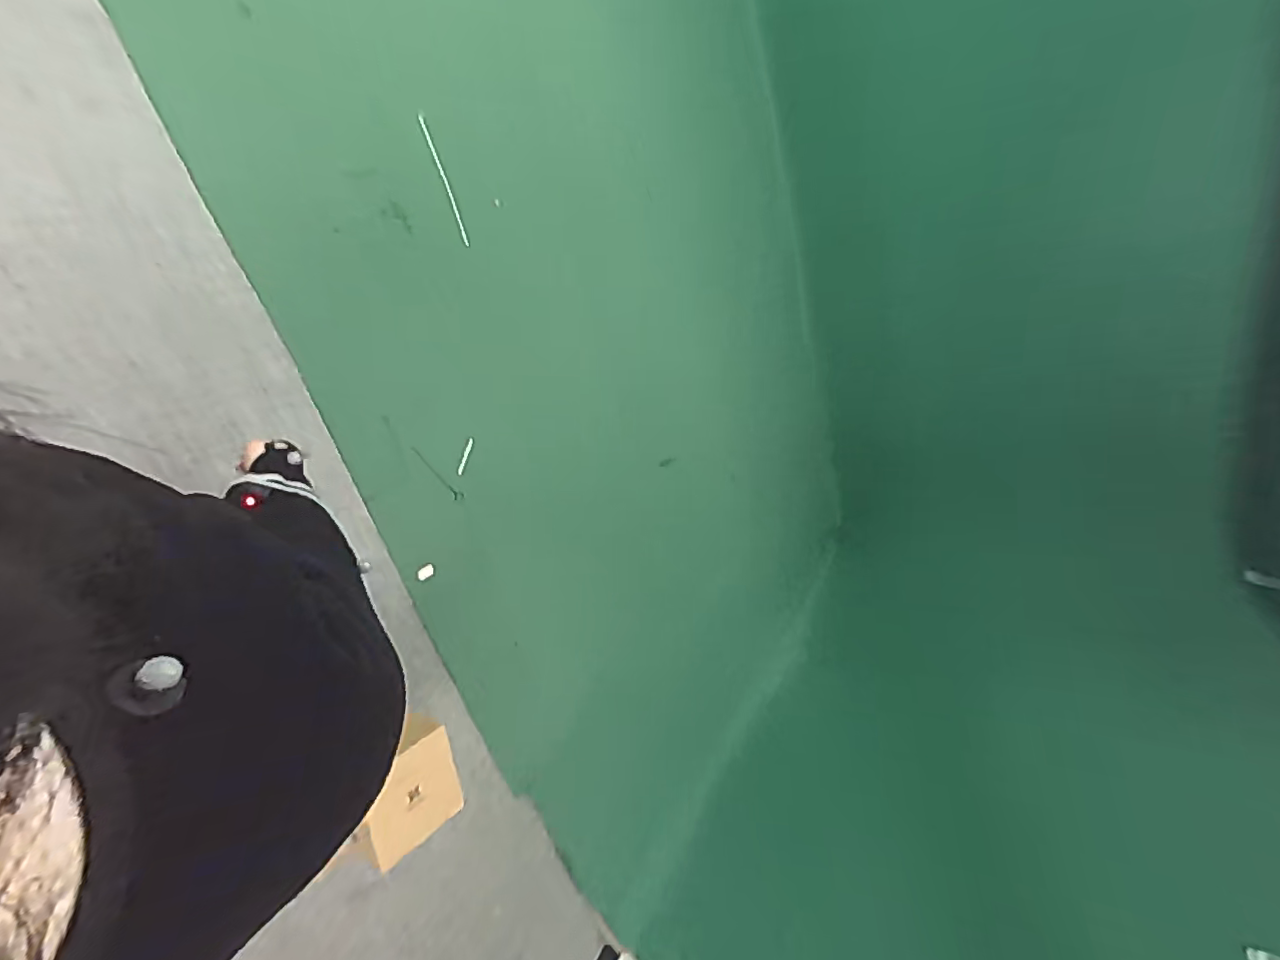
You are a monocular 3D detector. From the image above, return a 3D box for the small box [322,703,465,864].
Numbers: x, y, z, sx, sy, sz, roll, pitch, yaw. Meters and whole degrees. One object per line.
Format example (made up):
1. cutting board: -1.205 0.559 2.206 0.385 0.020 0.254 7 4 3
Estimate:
1. small box: -0.459 0.550 1.009 0.168 0.176 0.179 -21 106 -49
